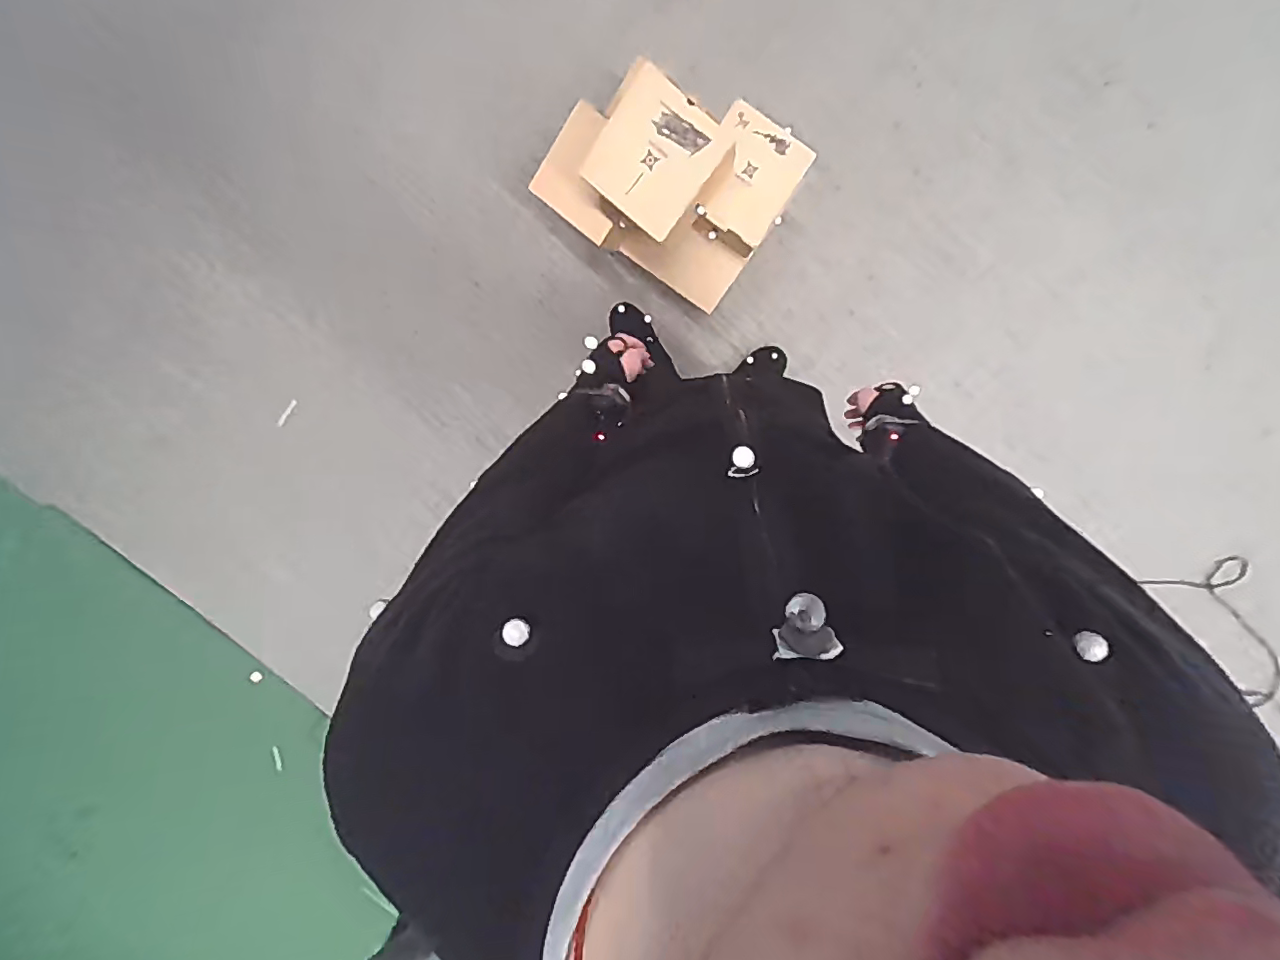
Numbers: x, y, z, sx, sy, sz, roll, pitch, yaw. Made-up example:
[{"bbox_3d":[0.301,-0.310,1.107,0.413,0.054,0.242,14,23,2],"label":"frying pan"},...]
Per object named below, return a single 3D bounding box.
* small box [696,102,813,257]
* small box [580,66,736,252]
[{"bbox_3d":[0.190,-0.539,1.002,0.168,0.176,0.179,34,108,-4],"label":"small box"},{"bbox_3d":[0.033,-0.493,0.863,0.168,0.176,0.179,39,110,-5],"label":"small box"}]
